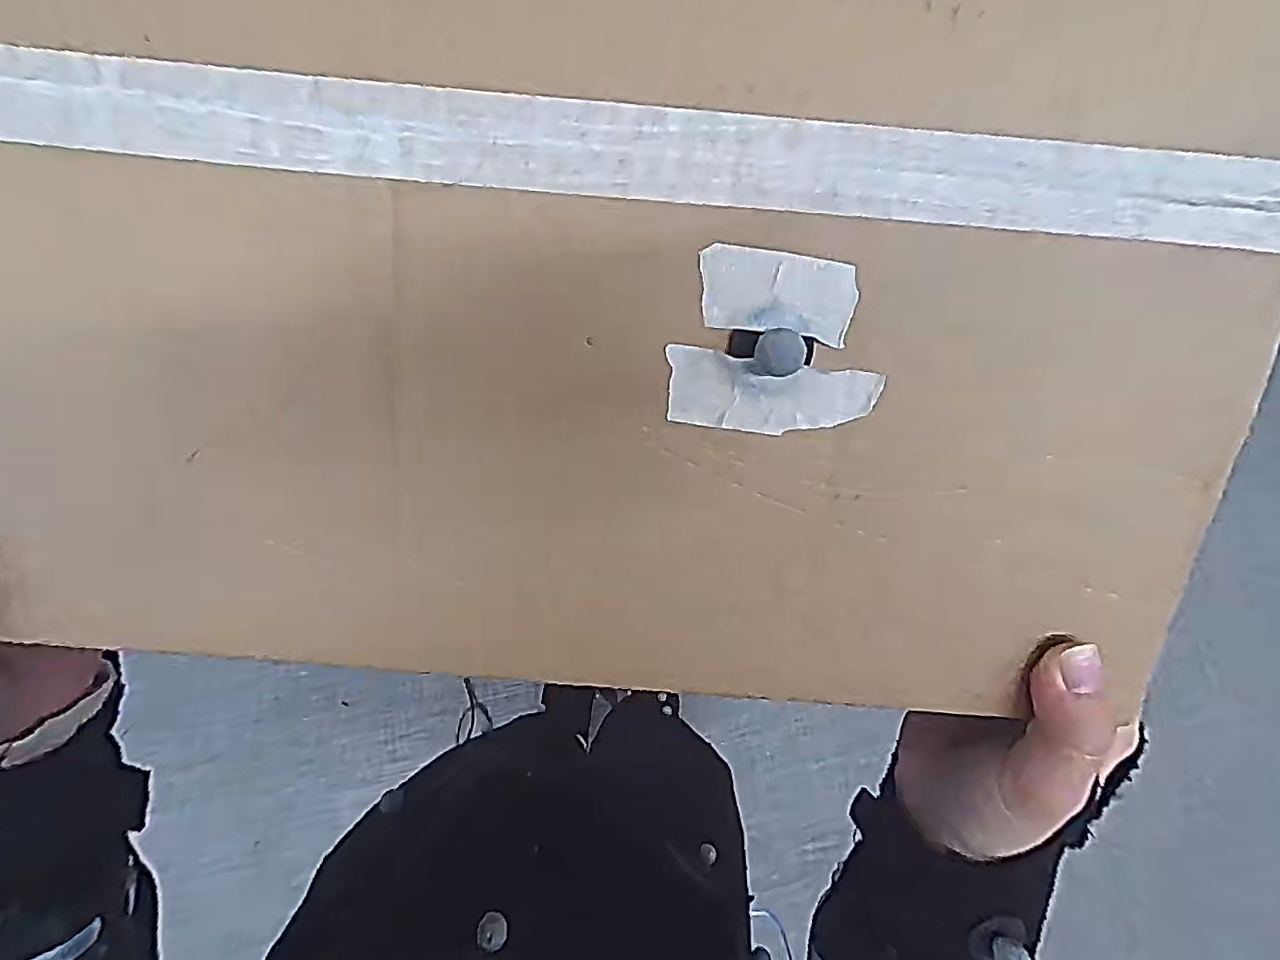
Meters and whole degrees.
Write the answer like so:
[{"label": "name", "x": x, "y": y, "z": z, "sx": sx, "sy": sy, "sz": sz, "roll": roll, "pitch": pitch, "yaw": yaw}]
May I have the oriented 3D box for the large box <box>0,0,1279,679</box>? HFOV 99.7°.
[{"label": "large box", "x": -0.027, "y": -0.121, "z": 0.297, "sx": 0.408, "sy": 0.320, "sz": 0.320, "roll": 4, "pitch": 104, "yaw": -2}]
